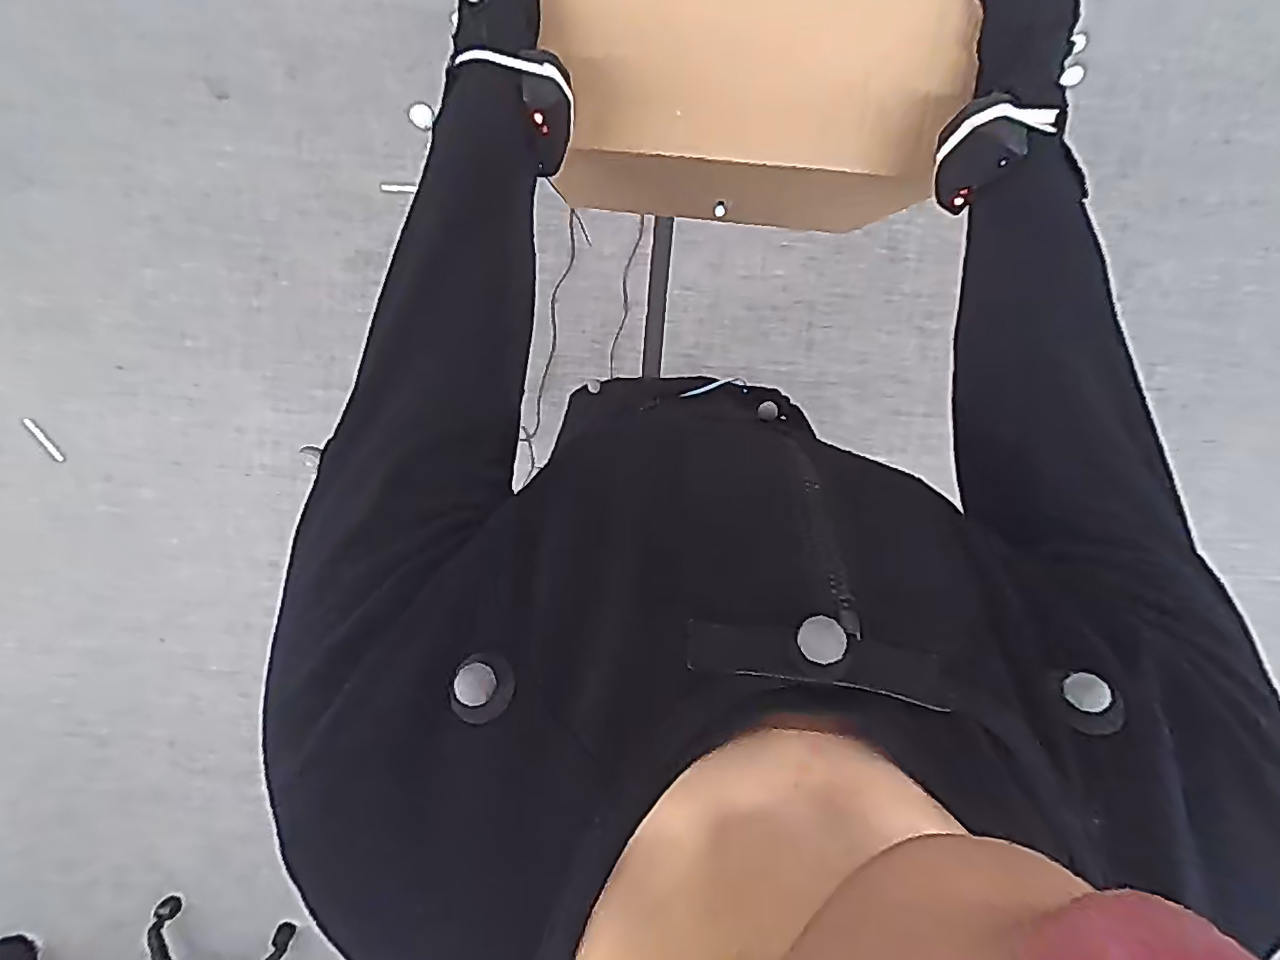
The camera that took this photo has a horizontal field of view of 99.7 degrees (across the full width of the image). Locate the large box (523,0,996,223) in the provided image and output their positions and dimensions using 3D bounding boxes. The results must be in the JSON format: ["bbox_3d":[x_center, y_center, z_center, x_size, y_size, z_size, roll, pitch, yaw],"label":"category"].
[{"bbox_3d":[0.109,-0.480,0.588,0.408,0.320,0.320,6,106,0],"label":"large box"}]
